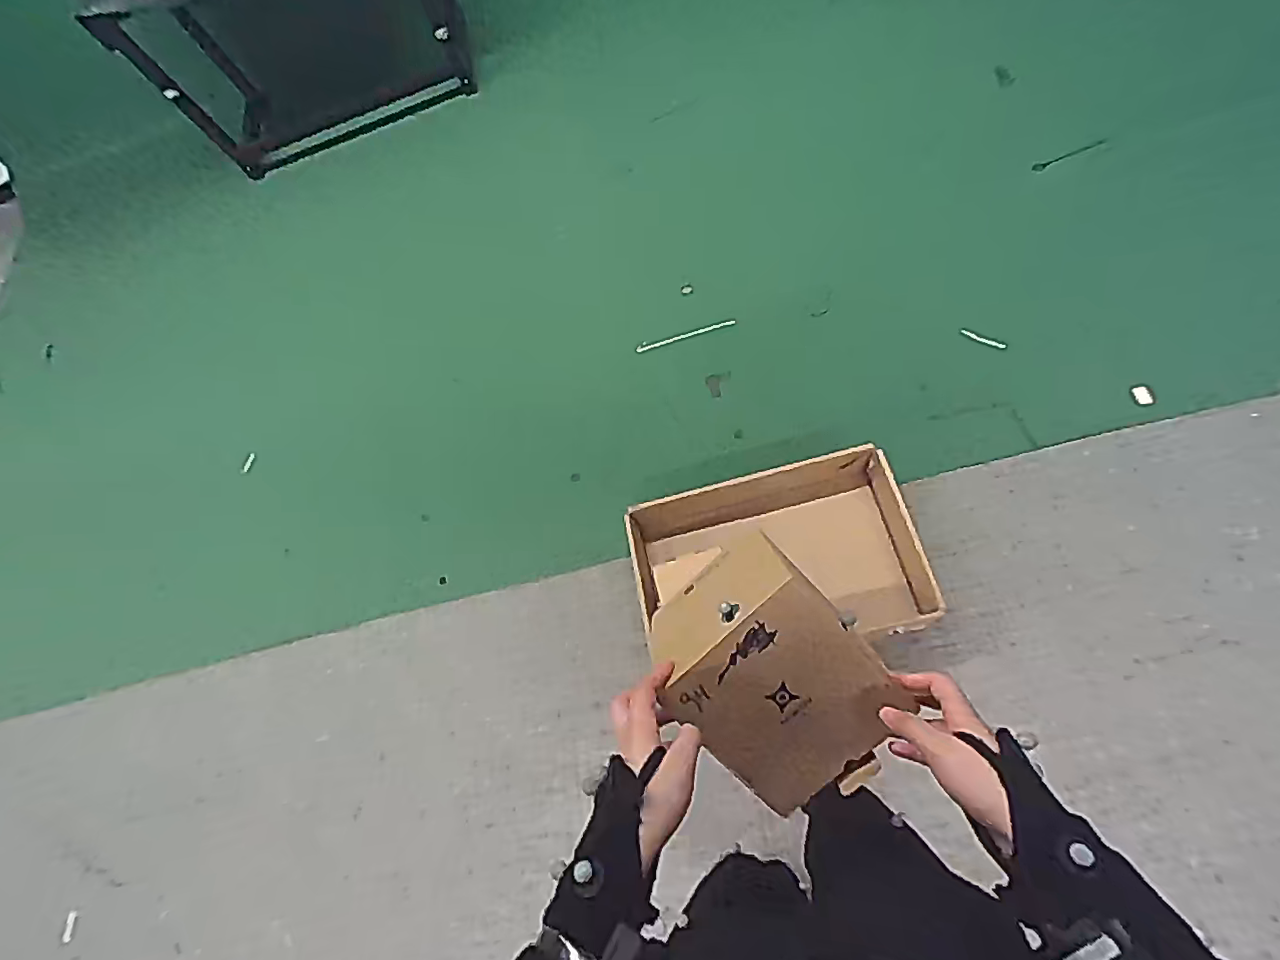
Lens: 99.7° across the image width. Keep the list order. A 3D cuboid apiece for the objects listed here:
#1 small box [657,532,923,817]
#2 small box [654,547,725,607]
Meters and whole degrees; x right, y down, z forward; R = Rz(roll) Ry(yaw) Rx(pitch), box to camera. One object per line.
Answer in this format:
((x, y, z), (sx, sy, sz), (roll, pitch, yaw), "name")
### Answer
((0.133, 0.180, 0.551), (0.168, 0.176, 0.179), (-44, 98, 8), "small box")
((0.144, 0.275, 1.249), (0.168, 0.176, 0.179), (-18, 67, 7), "small box")
